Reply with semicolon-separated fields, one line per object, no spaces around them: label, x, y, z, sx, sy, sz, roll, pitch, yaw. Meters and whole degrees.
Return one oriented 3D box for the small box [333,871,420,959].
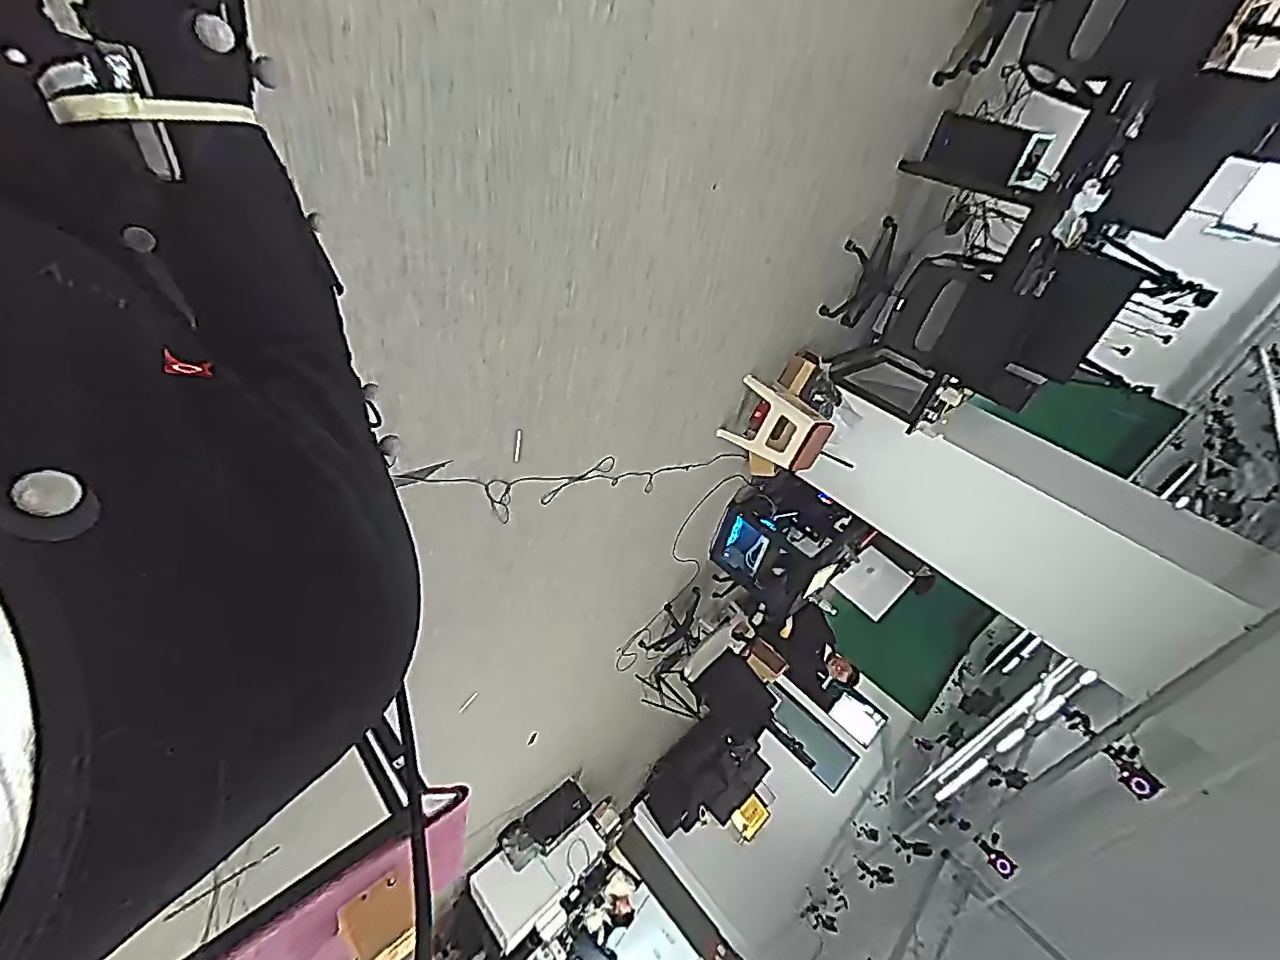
small box;-0.738;1.244;1.508;0.168;0.176;0.179;-17;136;-45
